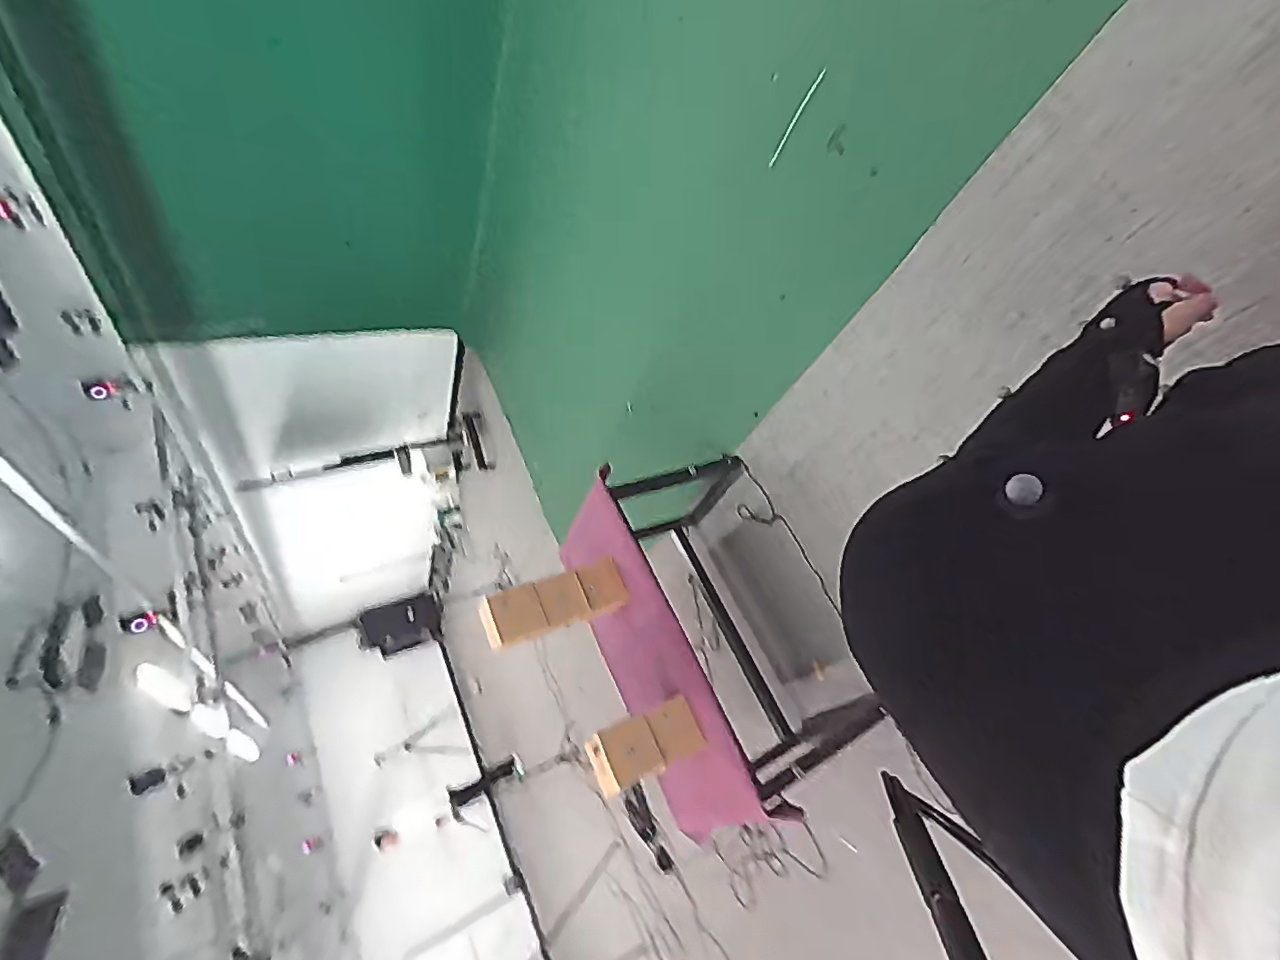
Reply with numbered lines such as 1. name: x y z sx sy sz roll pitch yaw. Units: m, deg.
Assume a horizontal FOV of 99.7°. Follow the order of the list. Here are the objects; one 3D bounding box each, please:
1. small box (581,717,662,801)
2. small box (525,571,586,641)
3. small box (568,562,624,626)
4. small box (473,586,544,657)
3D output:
1. small box: -0.059 0.872 1.705 0.179 0.176 0.168 60 144 24
2. small box: -0.317 0.452 1.945 0.179 0.176 0.168 63 145 17
3. small box: -0.187 0.423 2.042 0.179 0.176 0.168 63 145 17
4. small box: -0.453 0.480 1.855 0.179 0.176 0.168 63 146 17
